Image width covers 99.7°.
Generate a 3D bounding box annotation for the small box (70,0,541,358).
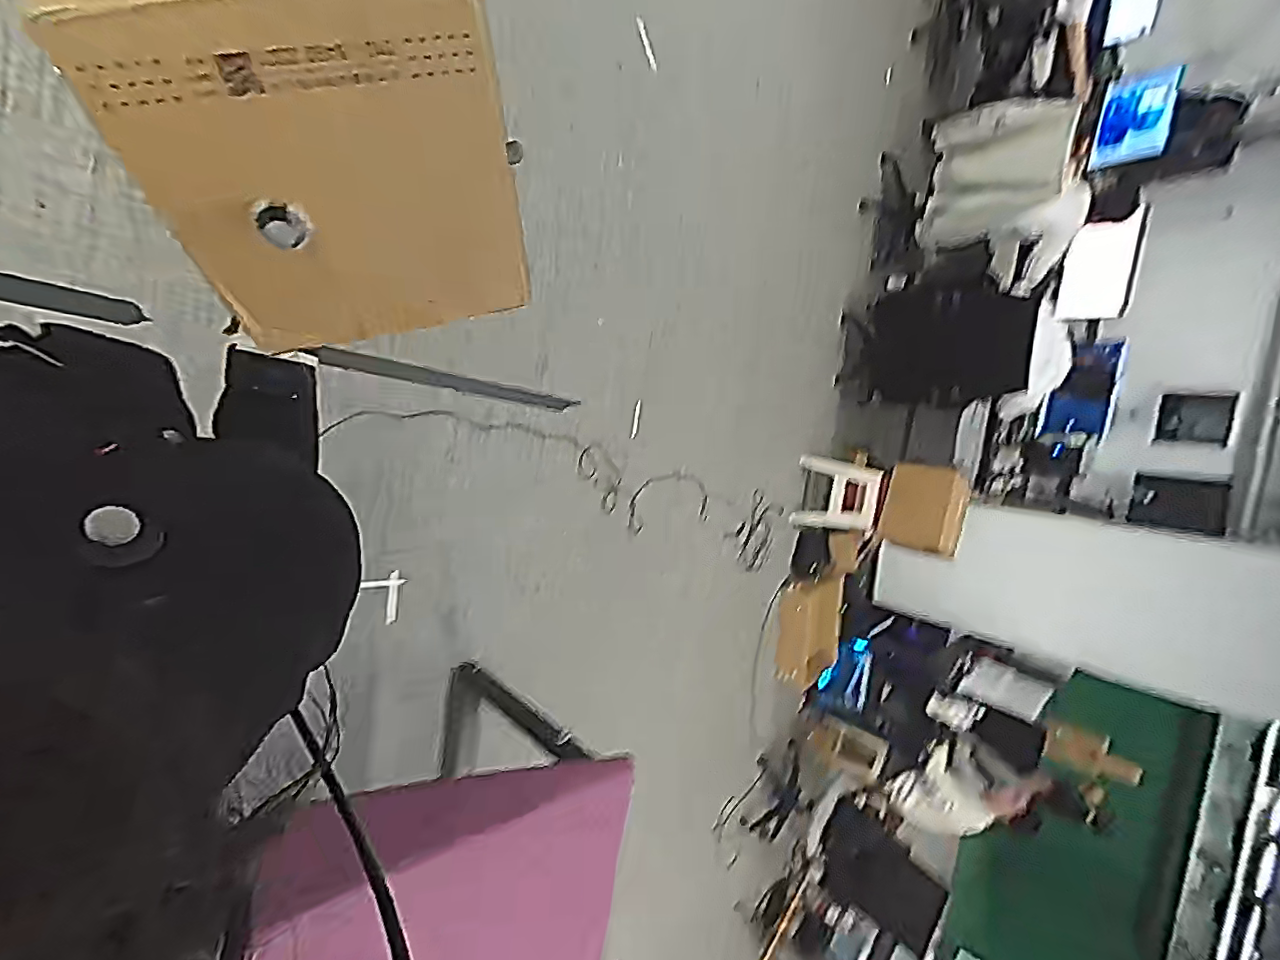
[{"bbox_3d":[-0.164,-0.204,0.315,0.168,0.179,0.176,-14,147,-15],"label":"small box"}]
